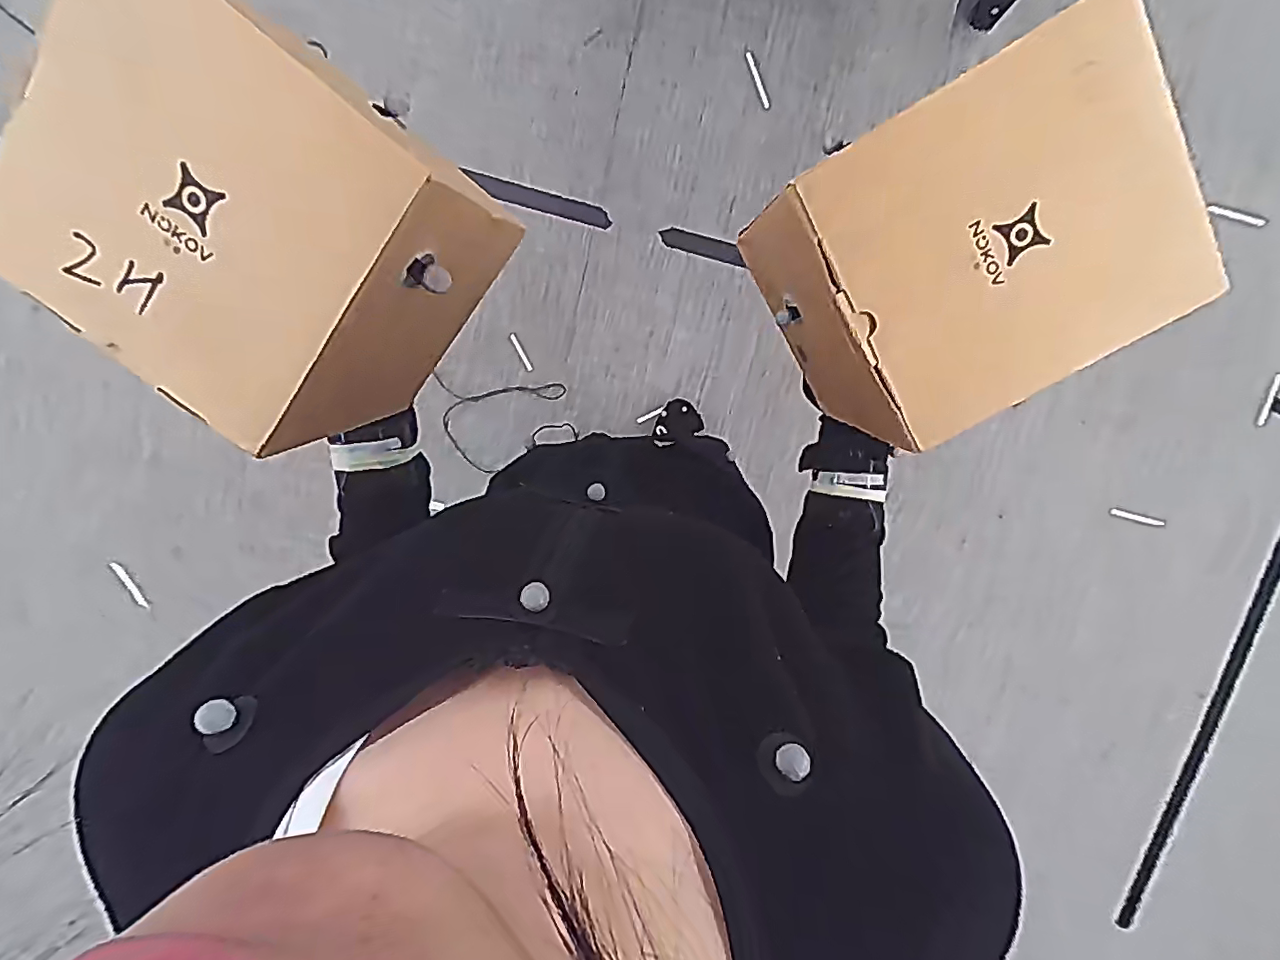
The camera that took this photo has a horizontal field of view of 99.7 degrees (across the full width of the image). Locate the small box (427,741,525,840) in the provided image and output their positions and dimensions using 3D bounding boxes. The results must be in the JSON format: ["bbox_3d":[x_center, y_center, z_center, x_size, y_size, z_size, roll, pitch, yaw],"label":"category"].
[{"bbox_3d":[-0.375,0.720,1.207,0.179,0.176,0.168,22,97,-2],"label":"small box"}]

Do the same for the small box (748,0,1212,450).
[{"bbox_3d":[0.195,-0.147,0.361,0.179,0.176,0.168,-30,103,9],"label":"small box"}]

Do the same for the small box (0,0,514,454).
[{"bbox_3d":[-0.198,-0.148,0.331,0.168,0.176,0.179,39,106,-7],"label":"small box"}]
